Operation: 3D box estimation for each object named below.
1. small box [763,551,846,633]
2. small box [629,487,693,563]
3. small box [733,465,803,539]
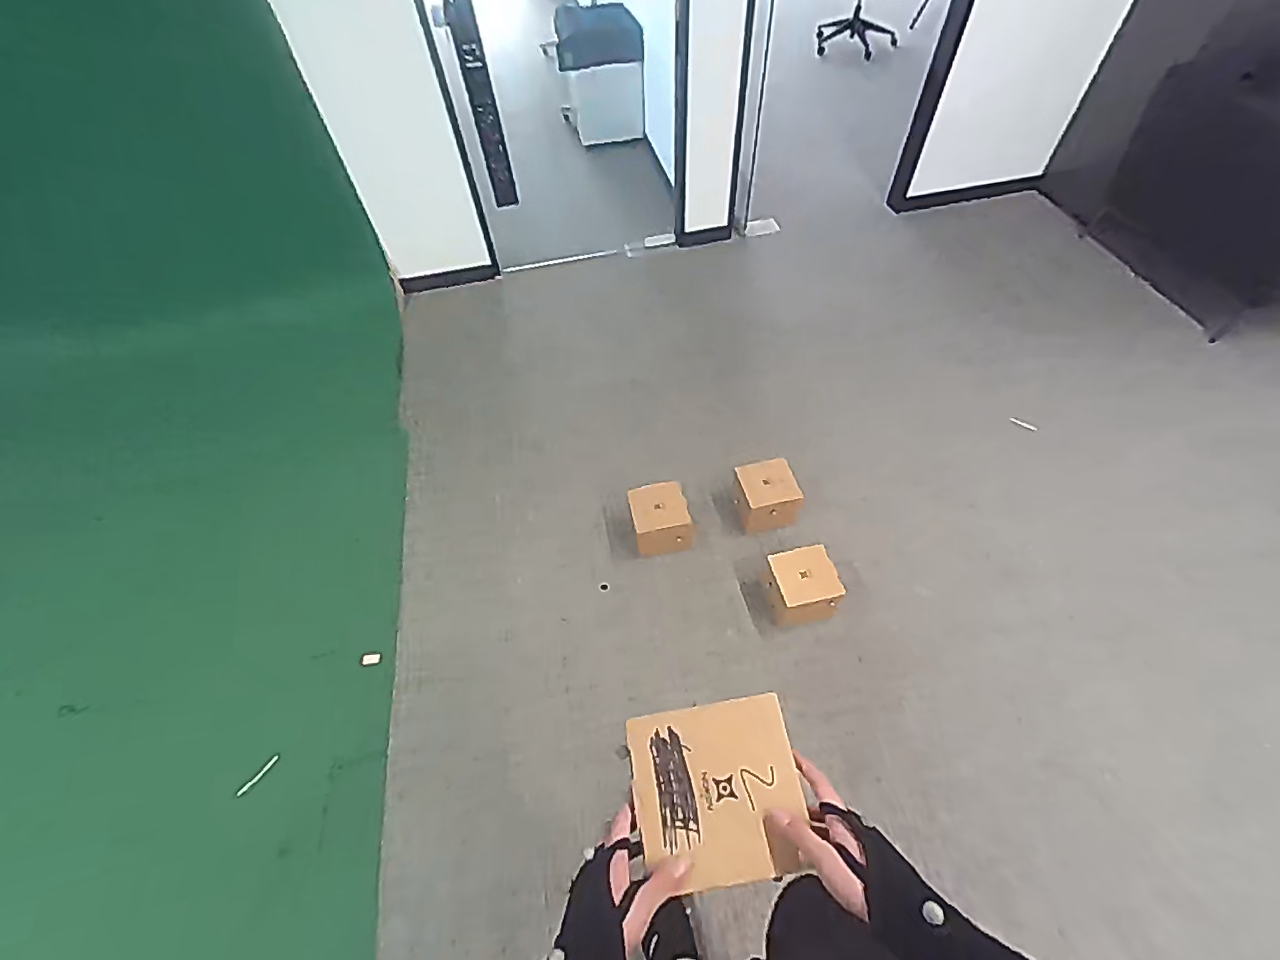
[{"bbox_3d":[0.472,0.334,1.592,0.179,0.176,0.168,-11,54,-6],"label":"small box"},{"bbox_3d":[0.065,0.148,1.748,0.179,0.176,0.168,-11,53,-4],"label":"small box"},{"bbox_3d":[0.413,0.076,1.781,0.179,0.176,0.168,-11,54,-6],"label":"small box"}]
